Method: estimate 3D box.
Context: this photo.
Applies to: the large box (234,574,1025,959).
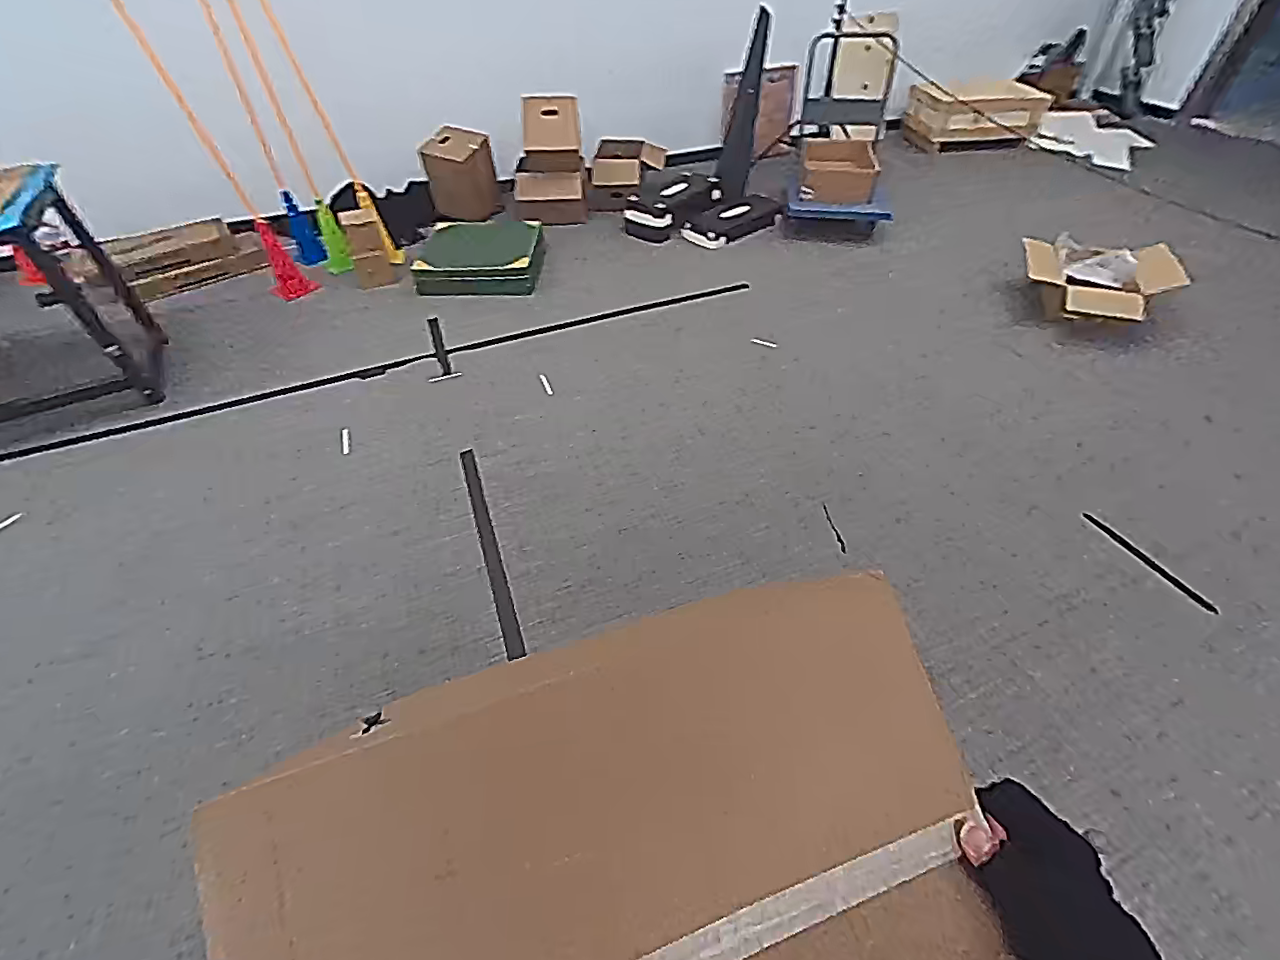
[{"bbox_3d":[-0.005,0.295,0.439,0.408,0.320,0.320,-16,80,-10],"label":"large box"}]
